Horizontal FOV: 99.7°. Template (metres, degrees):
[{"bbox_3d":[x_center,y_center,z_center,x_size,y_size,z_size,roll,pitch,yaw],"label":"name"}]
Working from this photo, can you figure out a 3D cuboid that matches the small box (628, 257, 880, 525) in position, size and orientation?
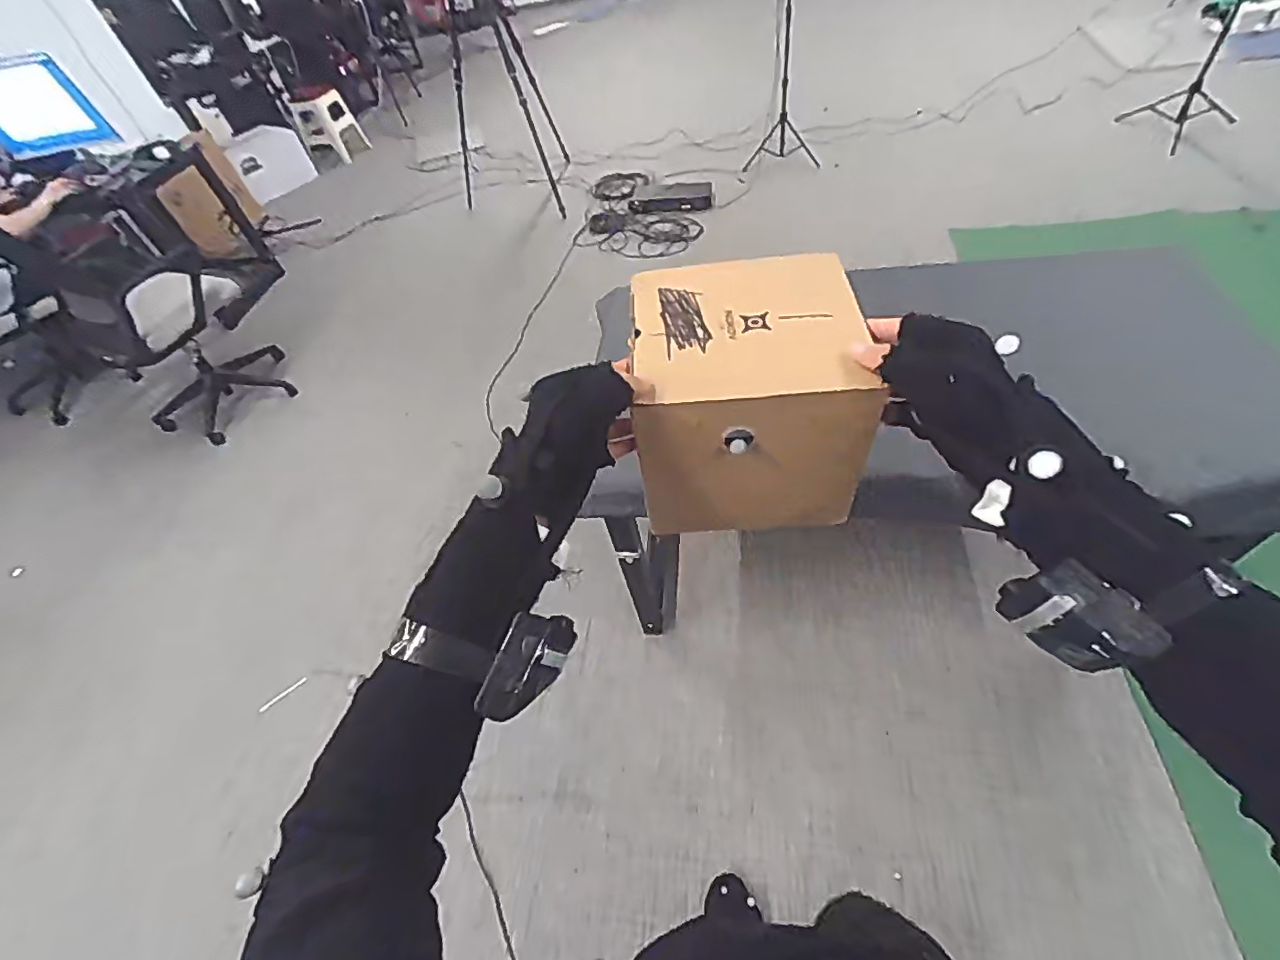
[{"bbox_3d":[0.088,-0.071,0.483,0.179,0.176,0.168,-4,53,5],"label":"small box"}]
